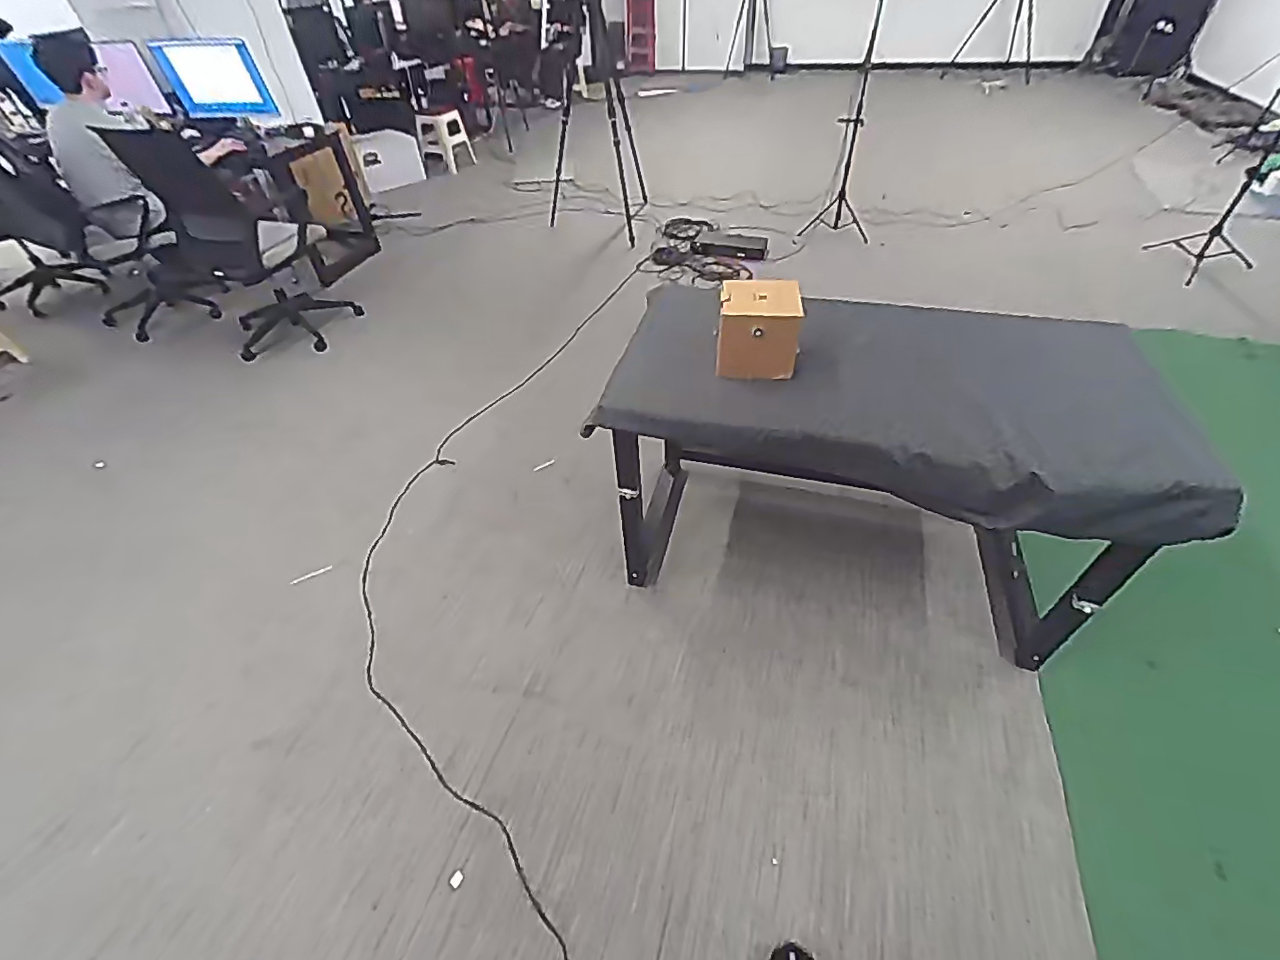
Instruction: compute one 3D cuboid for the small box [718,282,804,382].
[{"bbox_3d":[0.277,-0.346,1.269,0.179,0.176,0.168,4,47,5],"label":"small box"}]
